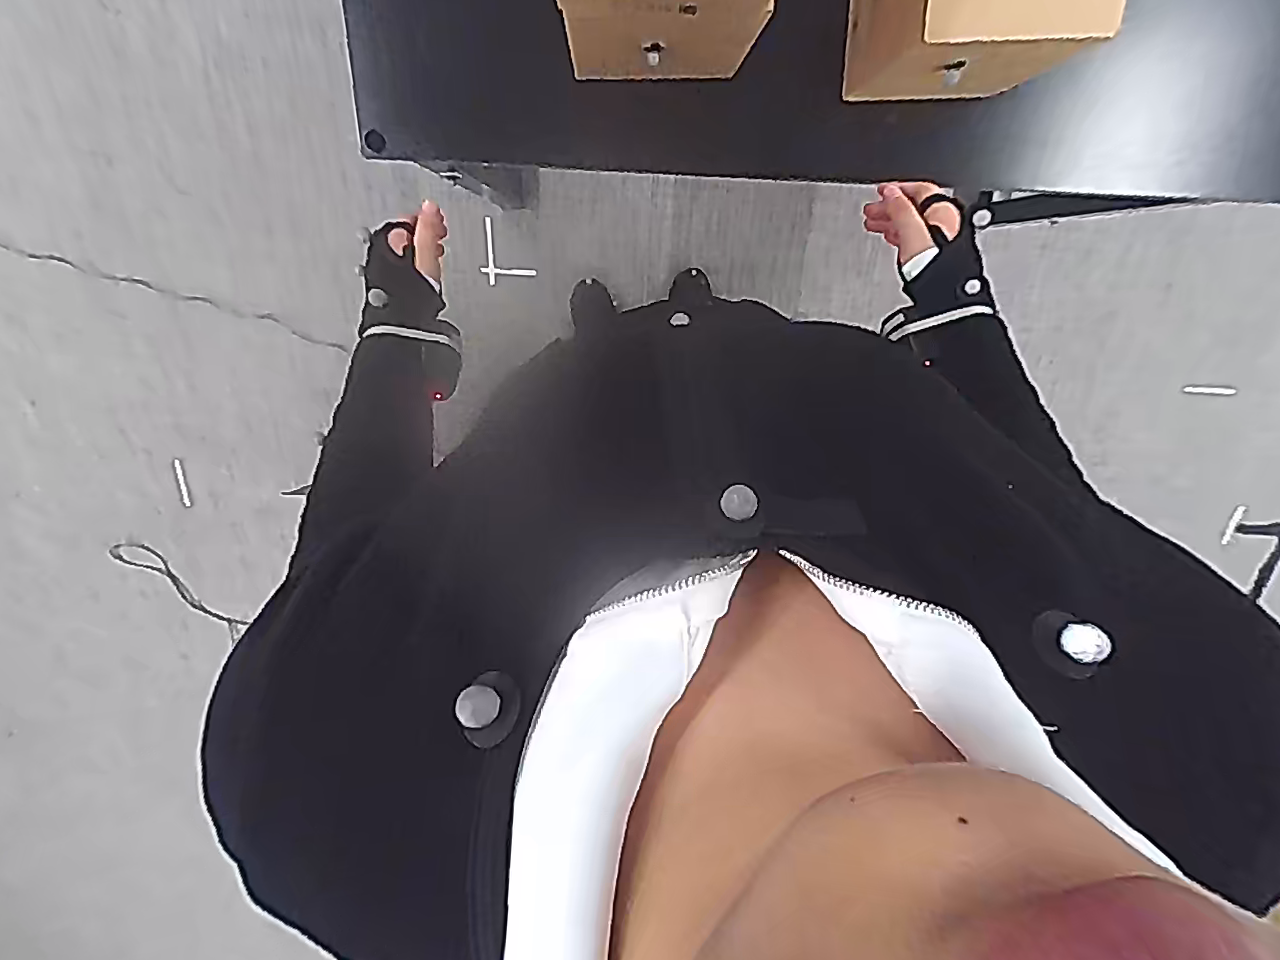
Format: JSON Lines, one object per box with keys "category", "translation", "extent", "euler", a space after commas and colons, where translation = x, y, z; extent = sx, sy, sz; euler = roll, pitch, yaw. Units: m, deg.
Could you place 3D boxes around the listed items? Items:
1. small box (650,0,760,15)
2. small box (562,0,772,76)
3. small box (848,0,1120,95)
{"category": "small box", "translation": [0.024, -0.433, 0.337], "extent": [0.168, 0.176, 0.179], "euler": [2, 111, -4]}
{"category": "small box", "translation": [0.019, -0.493, 0.491], "extent": [0.179, 0.176, 0.168], "euler": [-2, 111, -1]}
{"category": "small box", "translation": [0.314, -0.485, 0.509], "extent": [0.179, 0.176, 0.168], "euler": [-3, 111, 0]}
